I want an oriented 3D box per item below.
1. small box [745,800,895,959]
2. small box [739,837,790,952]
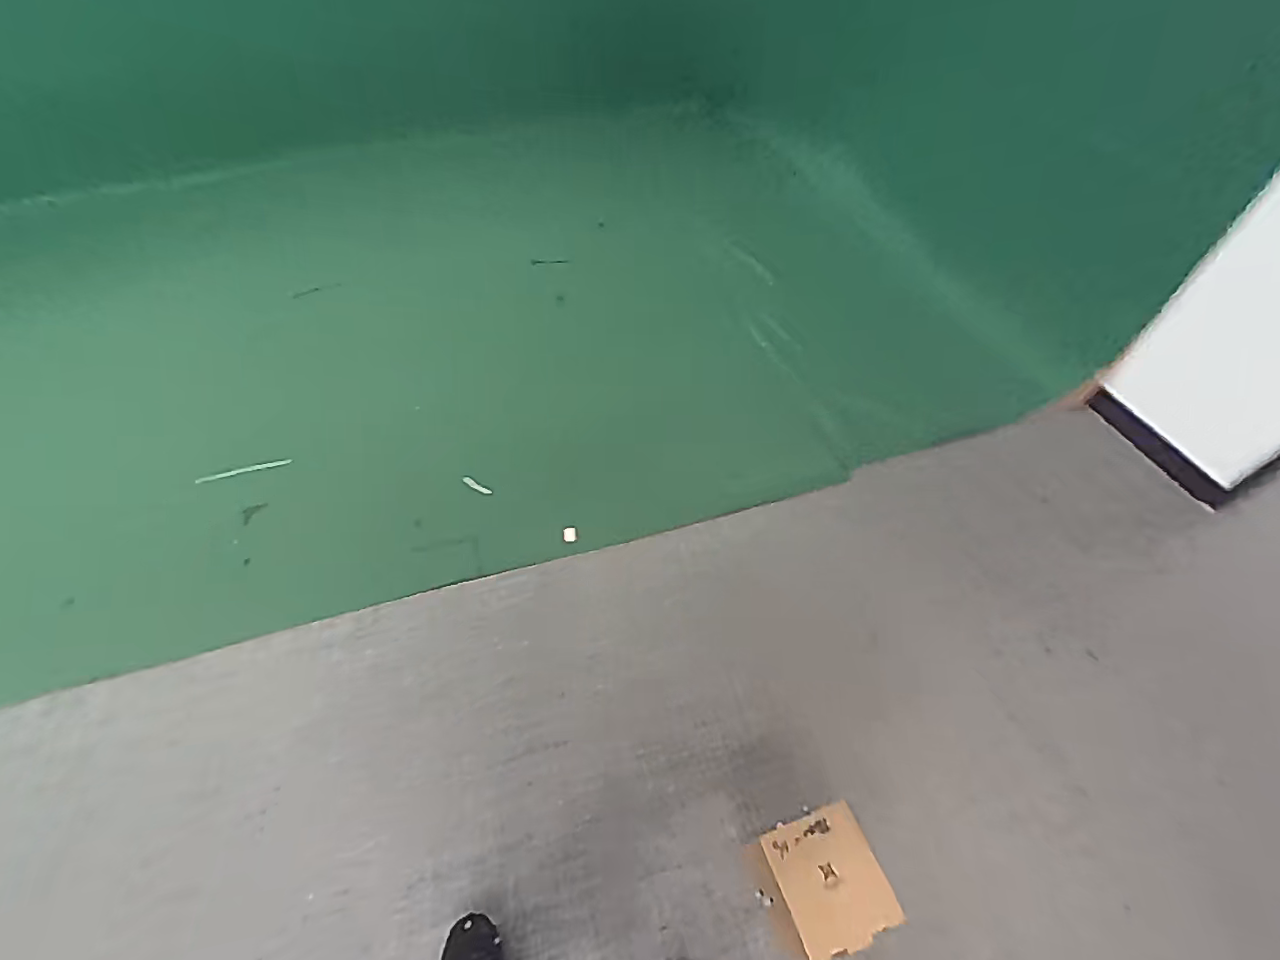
[{"bbox_3d":[0.297,0.684,0.934,0.168,0.176,0.179,-16,54,-10],"label":"small box"},{"bbox_3d":[0.306,0.784,1.063,0.168,0.176,0.179,-14,52,-8],"label":"small box"}]
